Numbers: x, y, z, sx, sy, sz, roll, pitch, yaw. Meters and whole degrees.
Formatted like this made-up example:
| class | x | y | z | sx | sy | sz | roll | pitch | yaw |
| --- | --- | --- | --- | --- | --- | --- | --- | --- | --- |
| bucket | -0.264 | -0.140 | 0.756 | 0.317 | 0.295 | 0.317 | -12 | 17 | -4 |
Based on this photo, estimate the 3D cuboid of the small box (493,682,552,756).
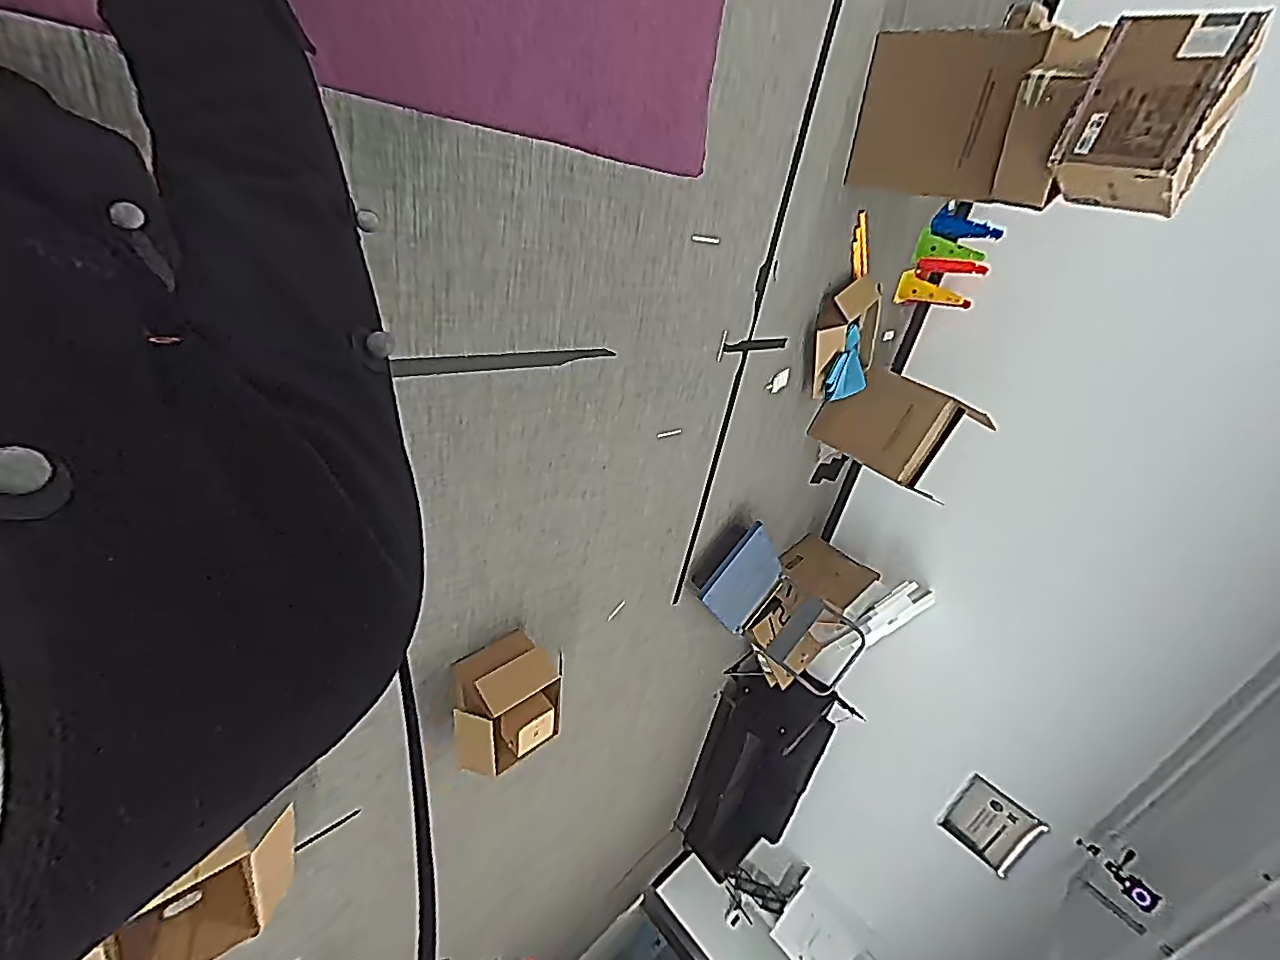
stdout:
| class | x | y | z | sx | sy | sz | roll | pitch | yaw |
| --- | --- | --- | --- | --- | --- | --- | --- | --- | --- |
| small box | -0.475 | 0.953 | 2.168 | 0.168 | 0.176 | 0.179 | -21 | 131 | -40 |
